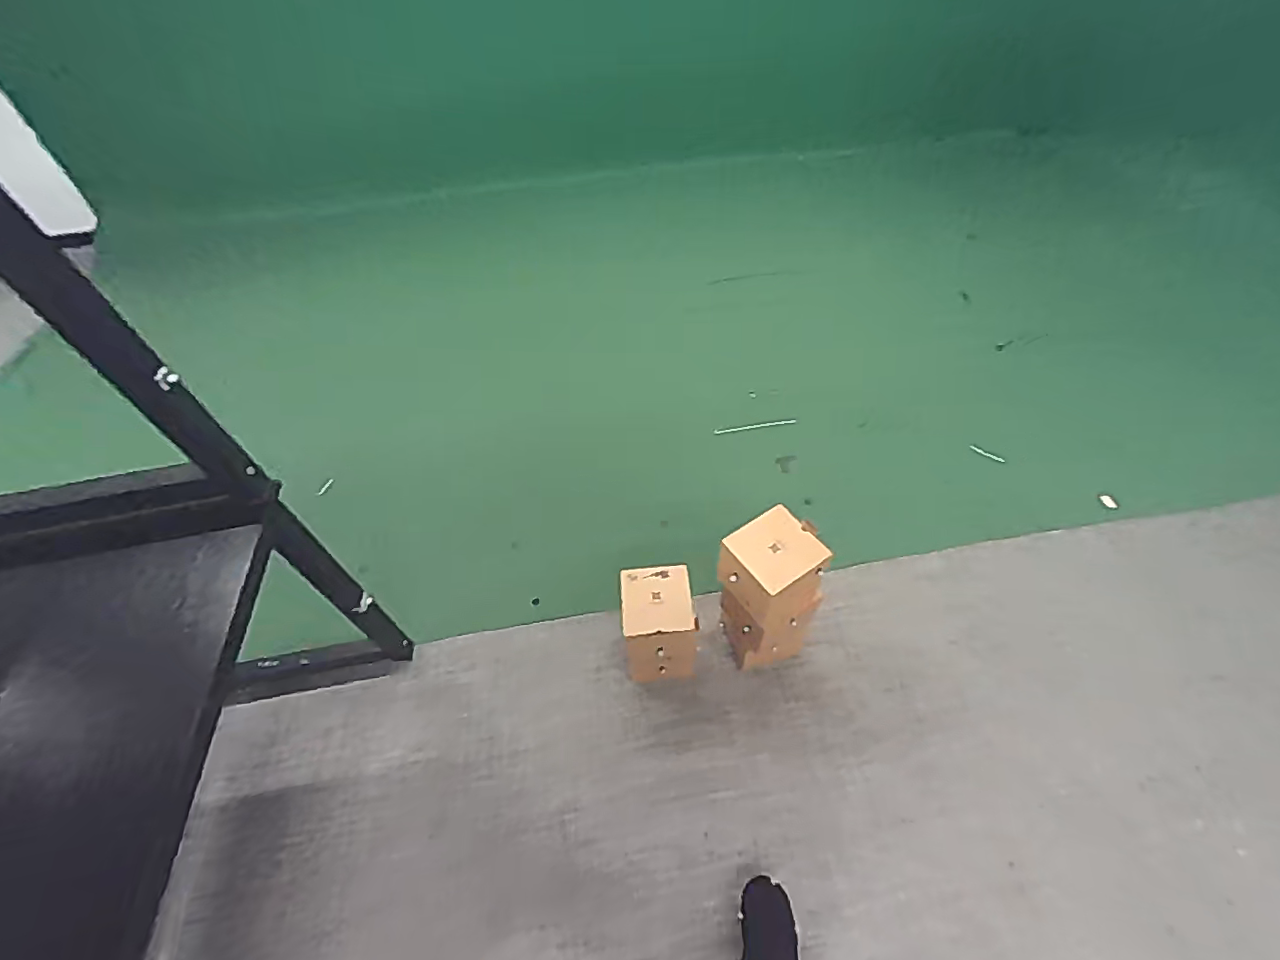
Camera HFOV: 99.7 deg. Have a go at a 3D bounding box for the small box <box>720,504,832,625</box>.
[{"bbox_3d":[0.294,0.193,1.210,0.179,0.176,0.168,-29,55,-19],"label":"small box"}]

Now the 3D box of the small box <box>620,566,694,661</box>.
[{"bbox_3d":[0.043,0.332,1.323,0.168,0.176,0.179,-5,50,1],"label":"small box"}]

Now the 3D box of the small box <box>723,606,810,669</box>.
[{"bbox_3d":[0.333,0.390,1.467,0.179,0.176,0.168,-14,52,-9],"label":"small box"}]

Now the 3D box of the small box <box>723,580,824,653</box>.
[{"bbox_3d":[0.319,0.296,1.335,0.179,0.176,0.168,-25,55,-17],"label":"small box"}]
